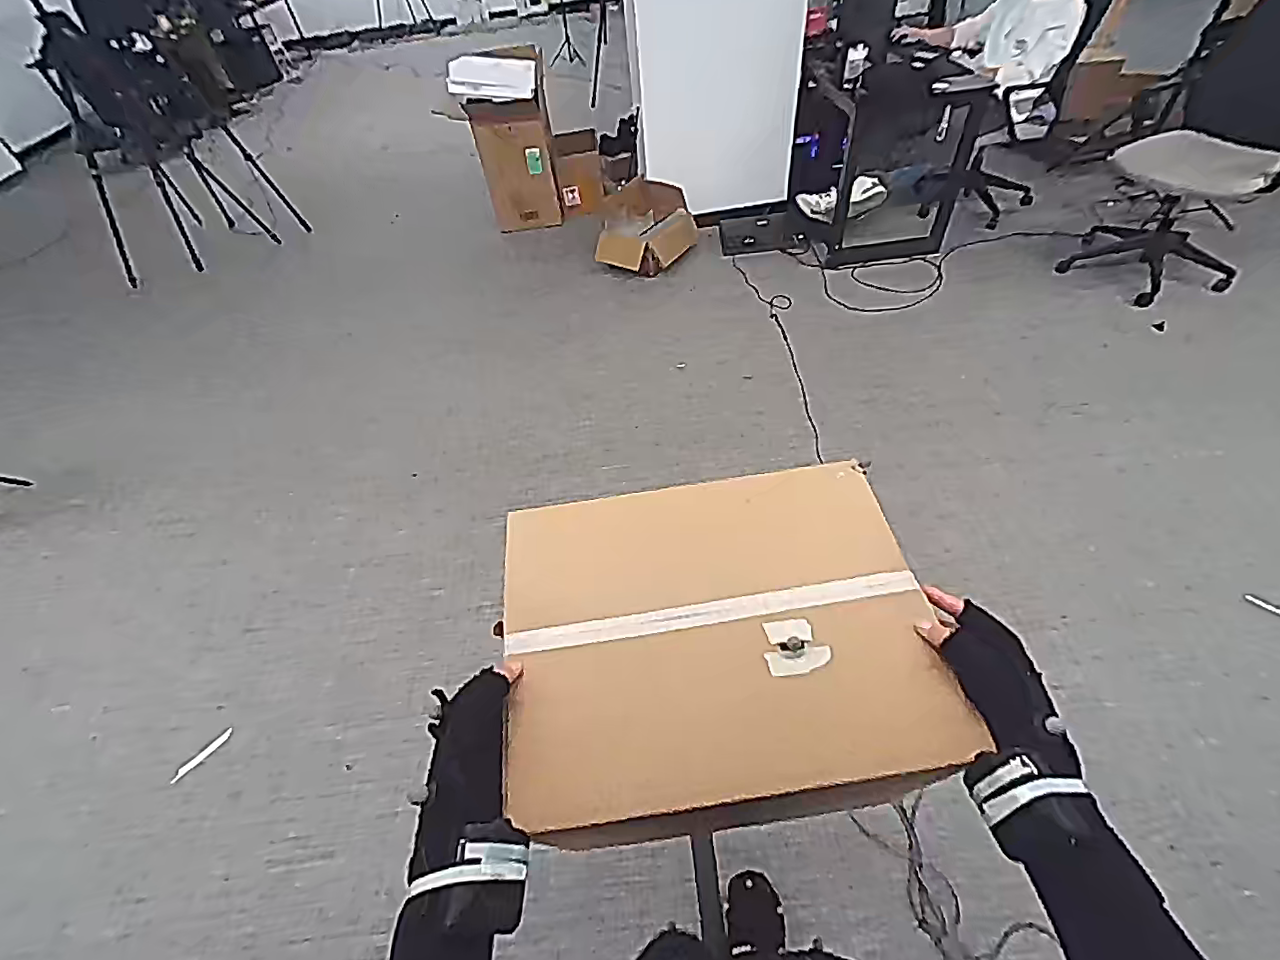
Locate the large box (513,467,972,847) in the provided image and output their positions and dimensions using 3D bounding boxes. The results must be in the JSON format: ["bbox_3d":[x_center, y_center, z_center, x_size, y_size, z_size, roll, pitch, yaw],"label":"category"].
[{"bbox_3d":[0.080,0.225,0.663,0.408,0.320,0.320,-9,54,-1],"label":"large box"}]
